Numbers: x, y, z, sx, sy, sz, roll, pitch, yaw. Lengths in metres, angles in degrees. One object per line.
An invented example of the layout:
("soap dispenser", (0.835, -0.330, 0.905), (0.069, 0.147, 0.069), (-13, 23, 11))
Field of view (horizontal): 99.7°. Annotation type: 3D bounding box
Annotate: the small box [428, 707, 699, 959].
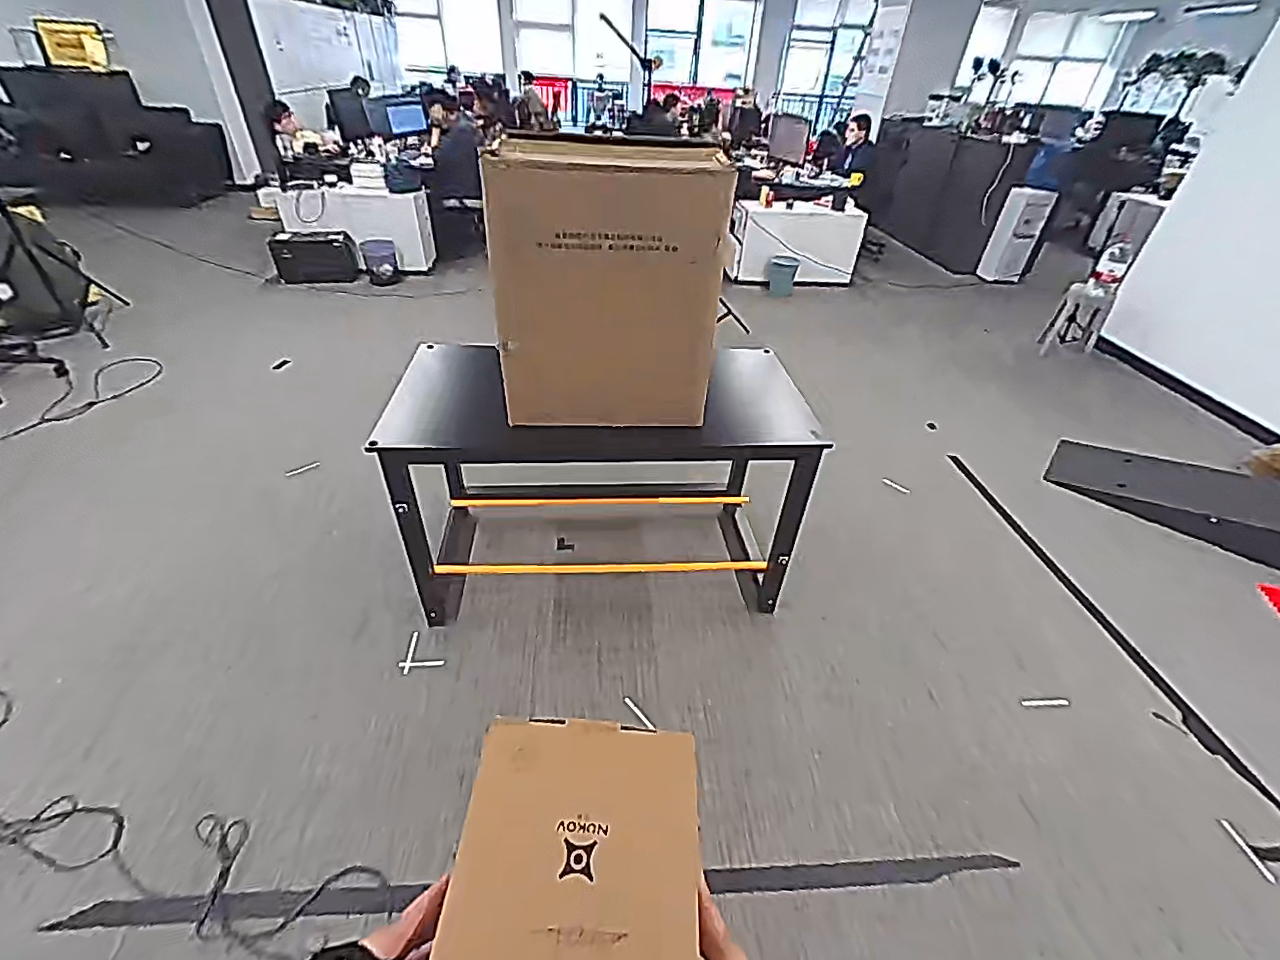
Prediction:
("small box", (-0.048, 0.307, 0.423), (0.168, 0.176, 0.179), (6, 44, 0))
